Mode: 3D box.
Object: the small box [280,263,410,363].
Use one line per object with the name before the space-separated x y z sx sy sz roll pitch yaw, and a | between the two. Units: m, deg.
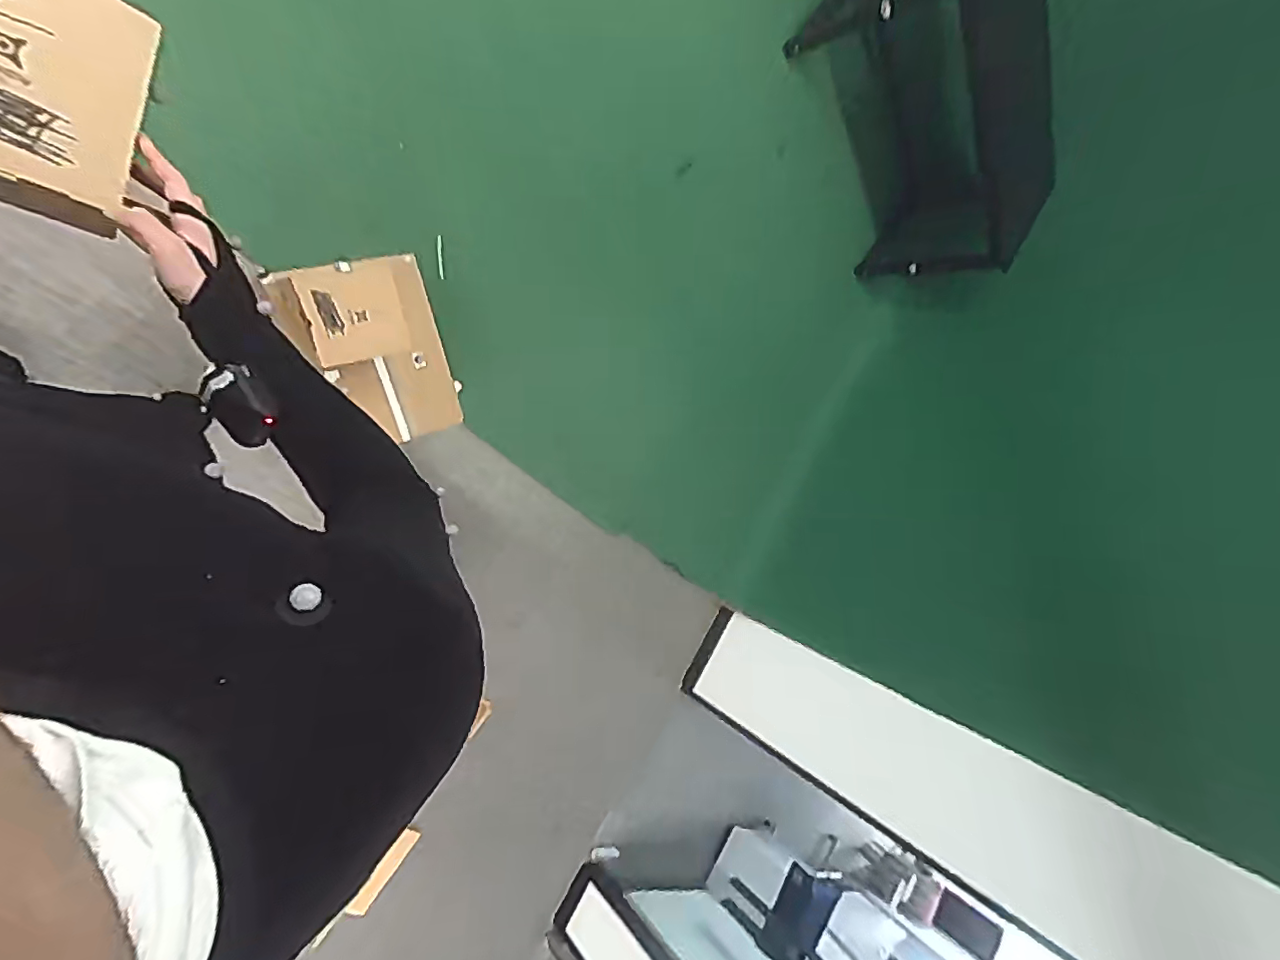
small box | -0.594 -0.336 1.084 0.179 0.176 0.168 -24 119 -35
